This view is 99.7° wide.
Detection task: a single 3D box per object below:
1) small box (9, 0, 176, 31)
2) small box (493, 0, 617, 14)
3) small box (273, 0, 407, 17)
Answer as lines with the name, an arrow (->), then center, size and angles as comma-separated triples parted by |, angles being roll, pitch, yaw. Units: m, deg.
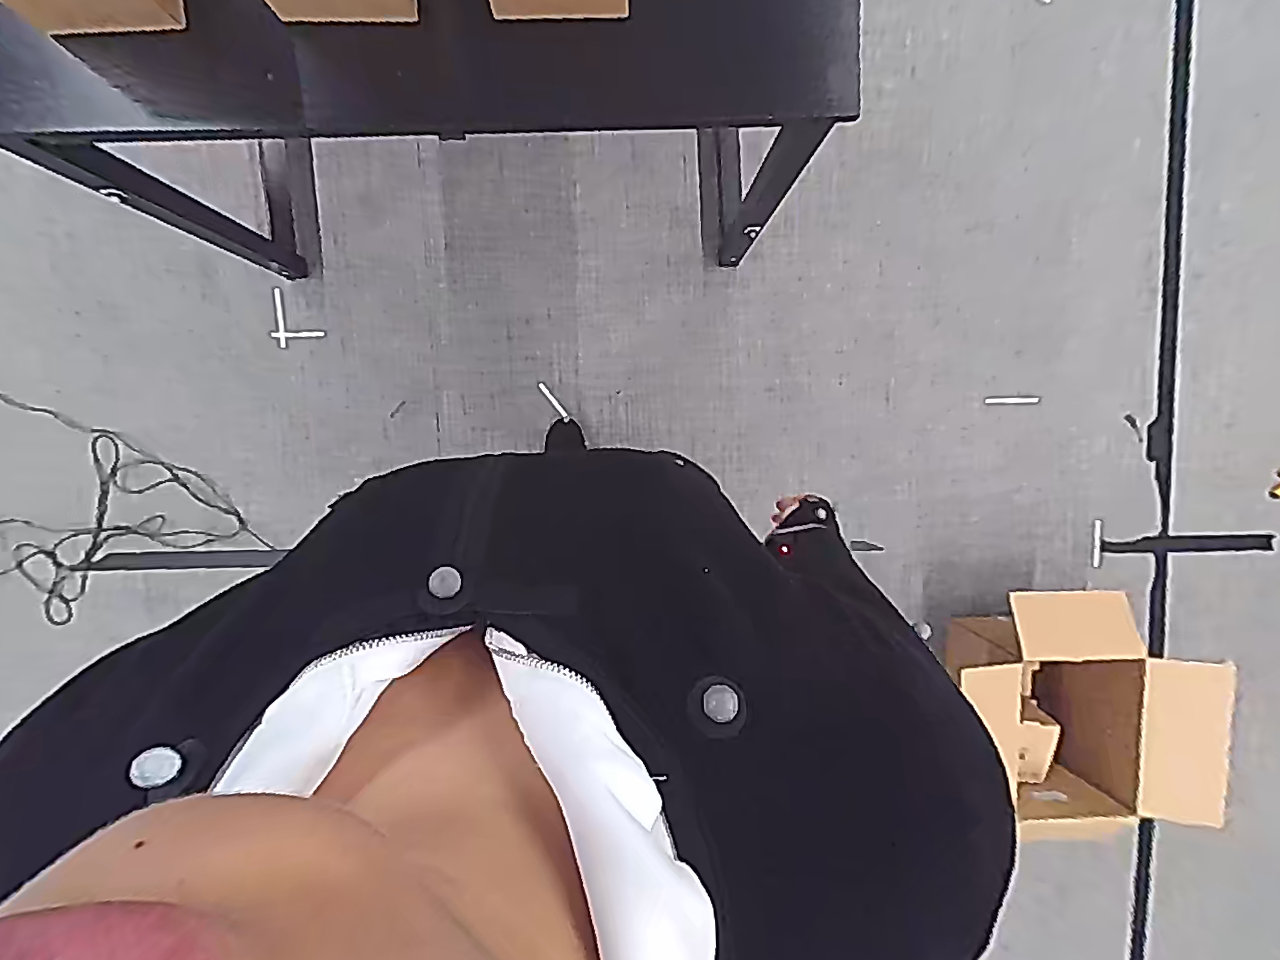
small box -> -0.666, -0.648, 0.601 | 0.179, 0.176, 0.168 | -5, 94, -1
small box -> -0.101, -0.679, 0.617 | 0.179, 0.176, 0.168 | -2, 95, -1
small box -> -0.371, -0.668, 0.609 | 0.179, 0.176, 0.168 | -1, 95, -1
